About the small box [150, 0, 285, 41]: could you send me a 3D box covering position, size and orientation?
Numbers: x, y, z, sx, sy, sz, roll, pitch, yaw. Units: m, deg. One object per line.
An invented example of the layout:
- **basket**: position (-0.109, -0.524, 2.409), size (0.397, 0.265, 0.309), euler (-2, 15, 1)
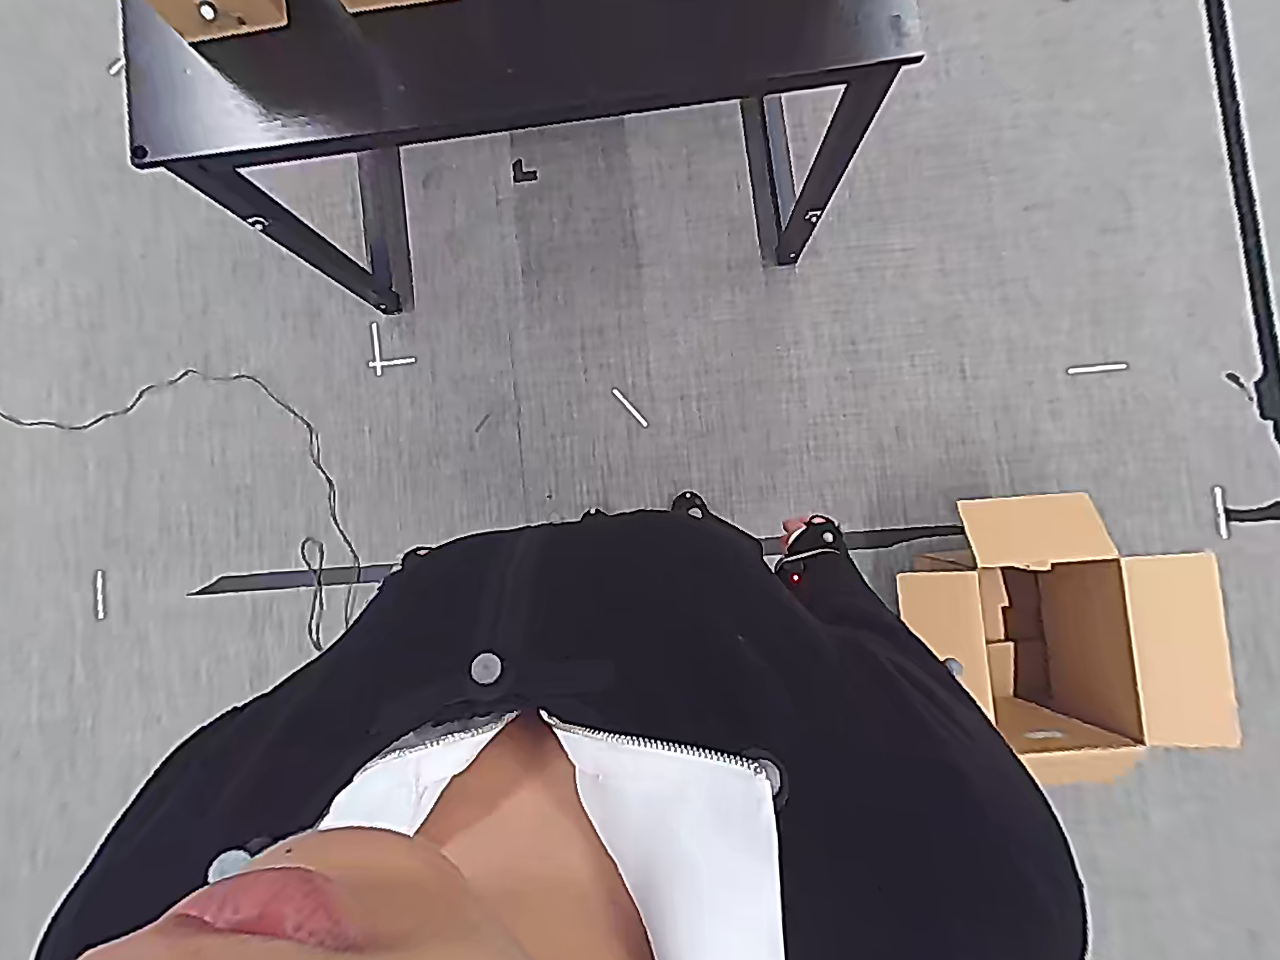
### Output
- **small box**: position (-0.639, -0.777, 0.760), size (0.168, 0.176, 0.179), euler (-8, 88, 2)

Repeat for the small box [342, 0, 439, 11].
- **small box**: position (-0.374, -0.807, 0.750), size (0.179, 0.176, 0.168), euler (-7, 87, 2)
